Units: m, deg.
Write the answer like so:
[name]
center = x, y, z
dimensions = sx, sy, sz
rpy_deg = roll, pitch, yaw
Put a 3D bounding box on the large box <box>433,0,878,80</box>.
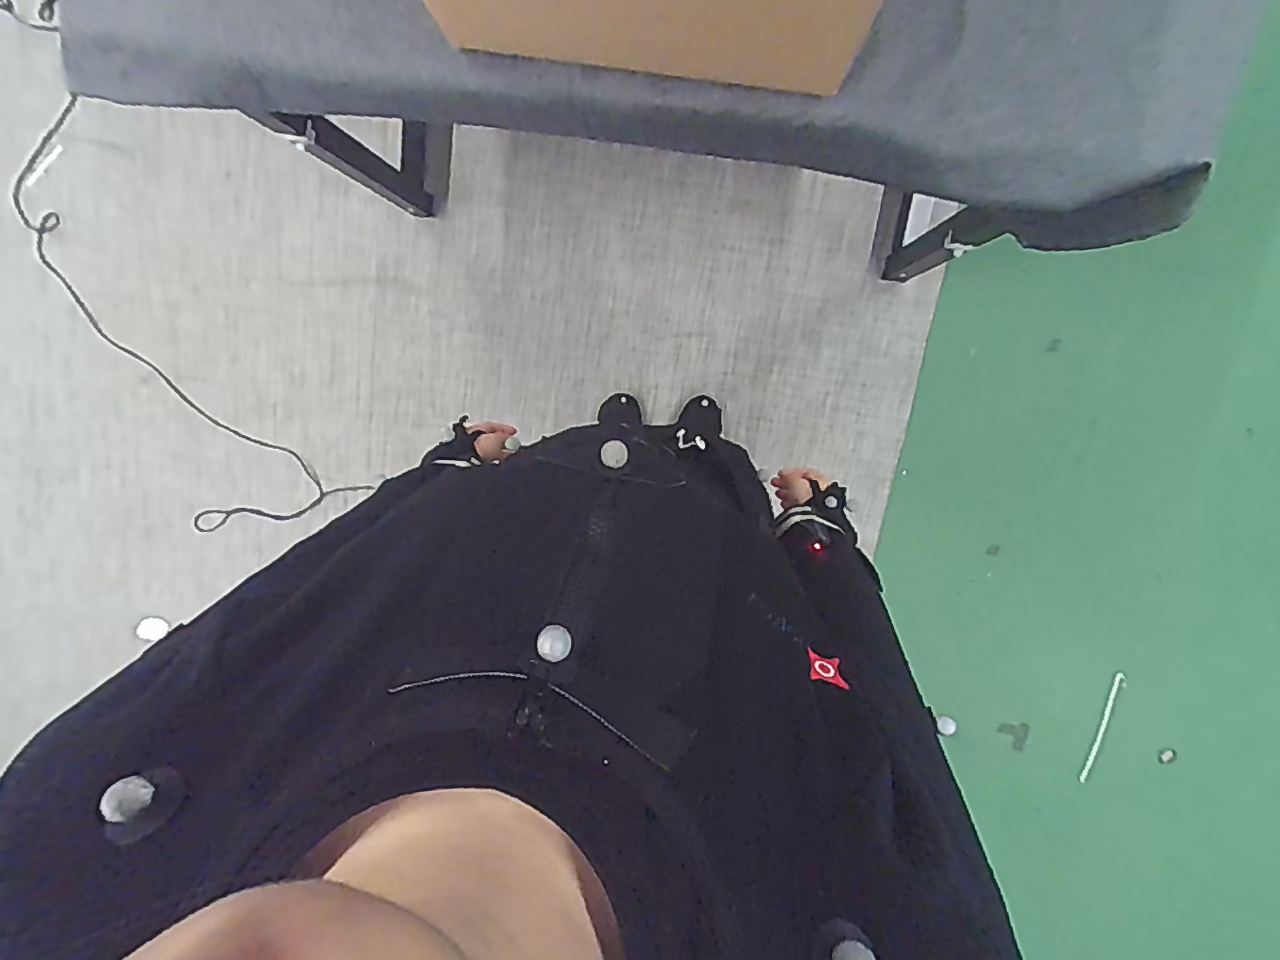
[large box]
center = 0.013, -0.553, 0.384
dimensions = 0.408, 0.320, 0.320
rpy_deg = 9, 100, 2
